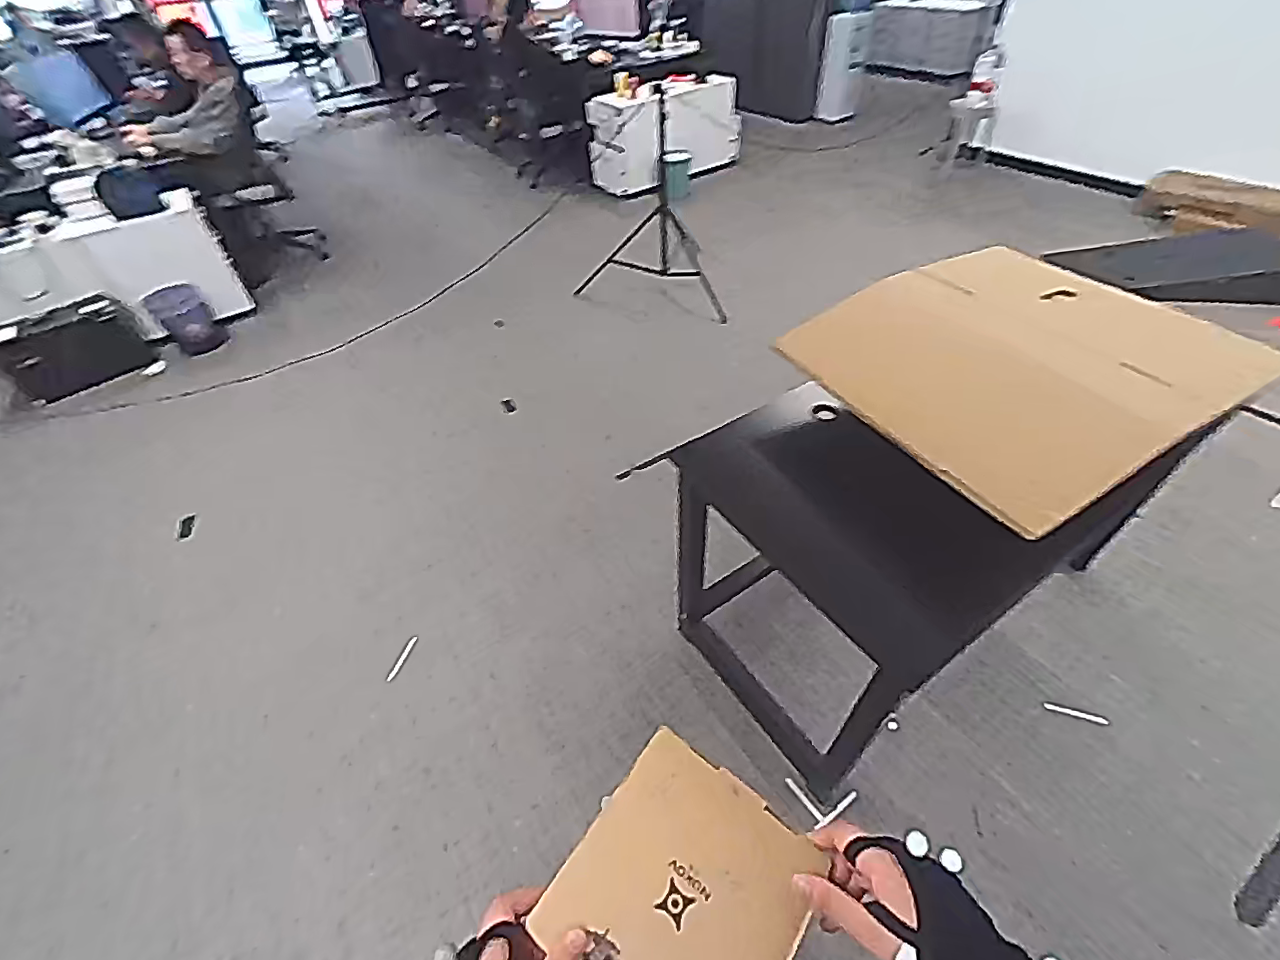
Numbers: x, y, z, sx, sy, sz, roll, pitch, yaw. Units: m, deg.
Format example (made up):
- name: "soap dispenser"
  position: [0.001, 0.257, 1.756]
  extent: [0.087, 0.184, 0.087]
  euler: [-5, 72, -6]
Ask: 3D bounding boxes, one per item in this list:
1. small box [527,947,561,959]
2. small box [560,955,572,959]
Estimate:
- name: "small box"
  position: [-0.162, 0.916, 0.878]
  extent: [0.168, 0.176, 0.179]
  euler: [-33, 51, -26]
- name: "small box"
  position: [-0.148, 1.032, 0.992]
  extent: [0.168, 0.176, 0.179]
  euler: [-31, 52, -23]
